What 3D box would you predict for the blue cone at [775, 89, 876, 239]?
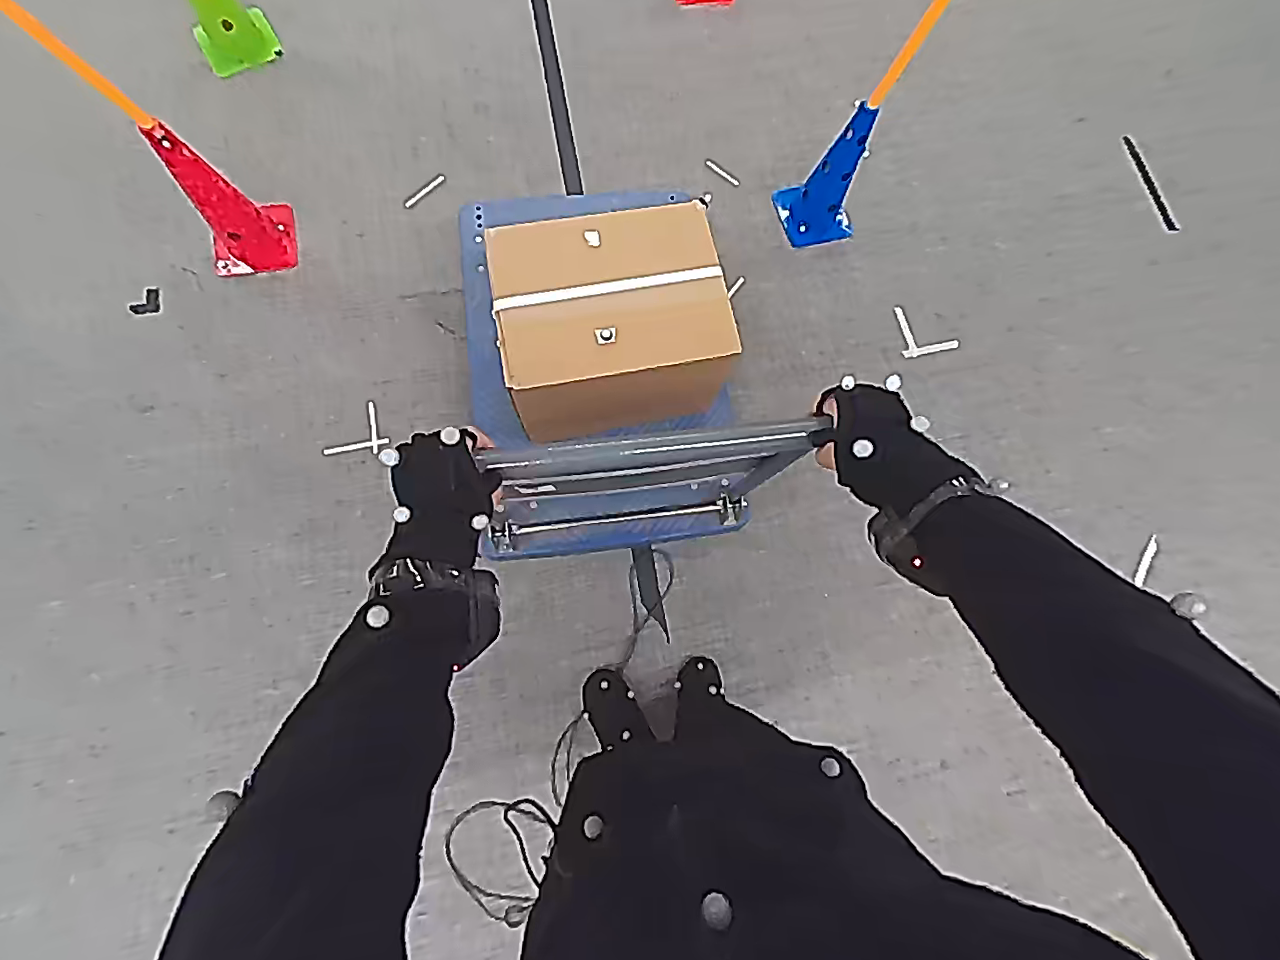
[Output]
[{"bbox_3d":[0.522,-0.840,1.436,0.193,0.380,0.192,-14,77,-8],"label":"blue cone"}]
